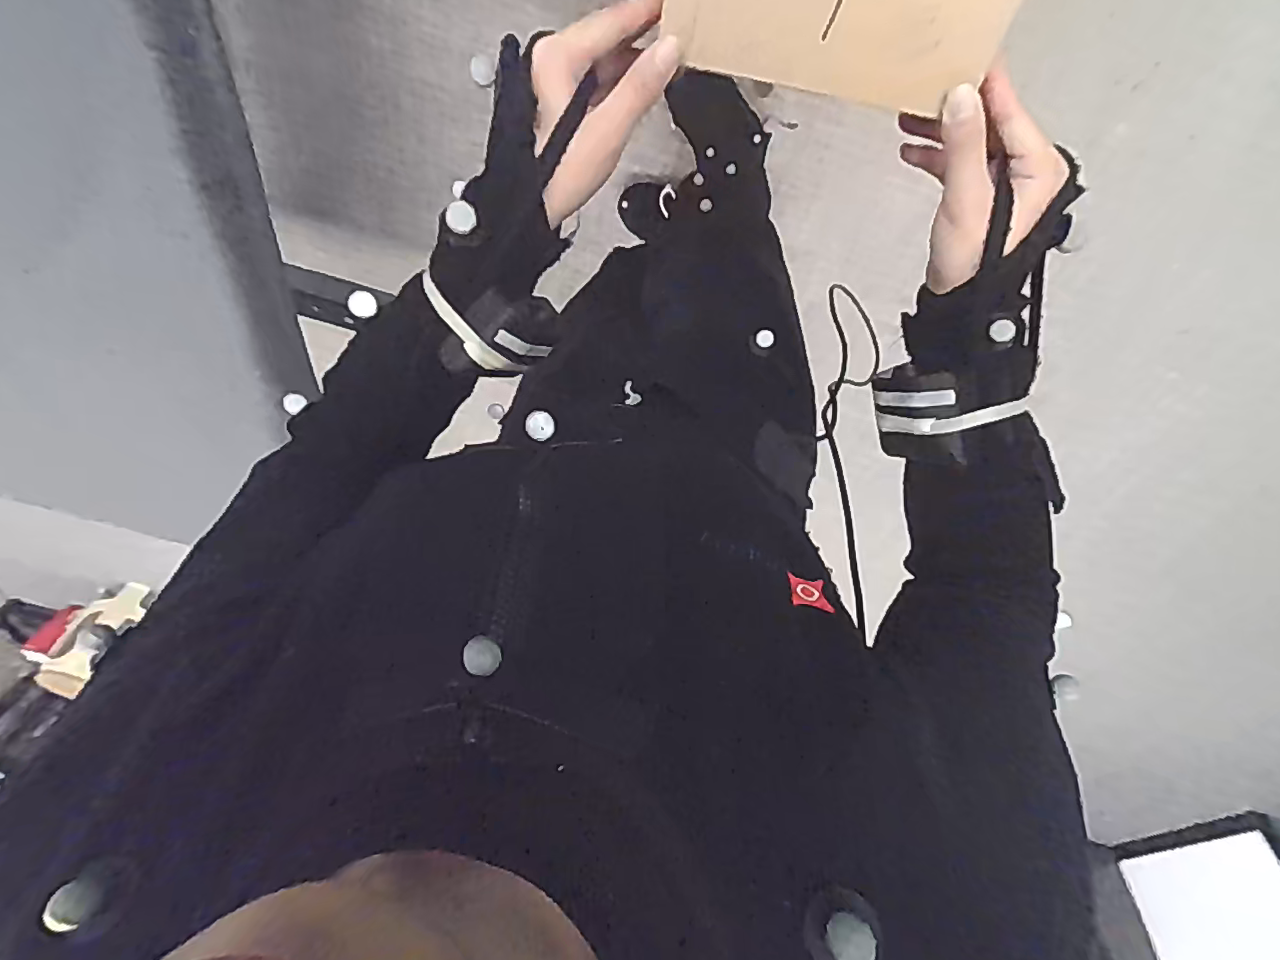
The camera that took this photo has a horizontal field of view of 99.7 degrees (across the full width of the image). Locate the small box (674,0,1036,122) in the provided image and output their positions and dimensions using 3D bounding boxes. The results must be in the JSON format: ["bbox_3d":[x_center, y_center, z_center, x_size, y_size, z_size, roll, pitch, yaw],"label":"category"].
[{"bbox_3d":[0.112,-0.316,0.279,0.168,0.176,0.179,9,132,-5],"label":"small box"}]
